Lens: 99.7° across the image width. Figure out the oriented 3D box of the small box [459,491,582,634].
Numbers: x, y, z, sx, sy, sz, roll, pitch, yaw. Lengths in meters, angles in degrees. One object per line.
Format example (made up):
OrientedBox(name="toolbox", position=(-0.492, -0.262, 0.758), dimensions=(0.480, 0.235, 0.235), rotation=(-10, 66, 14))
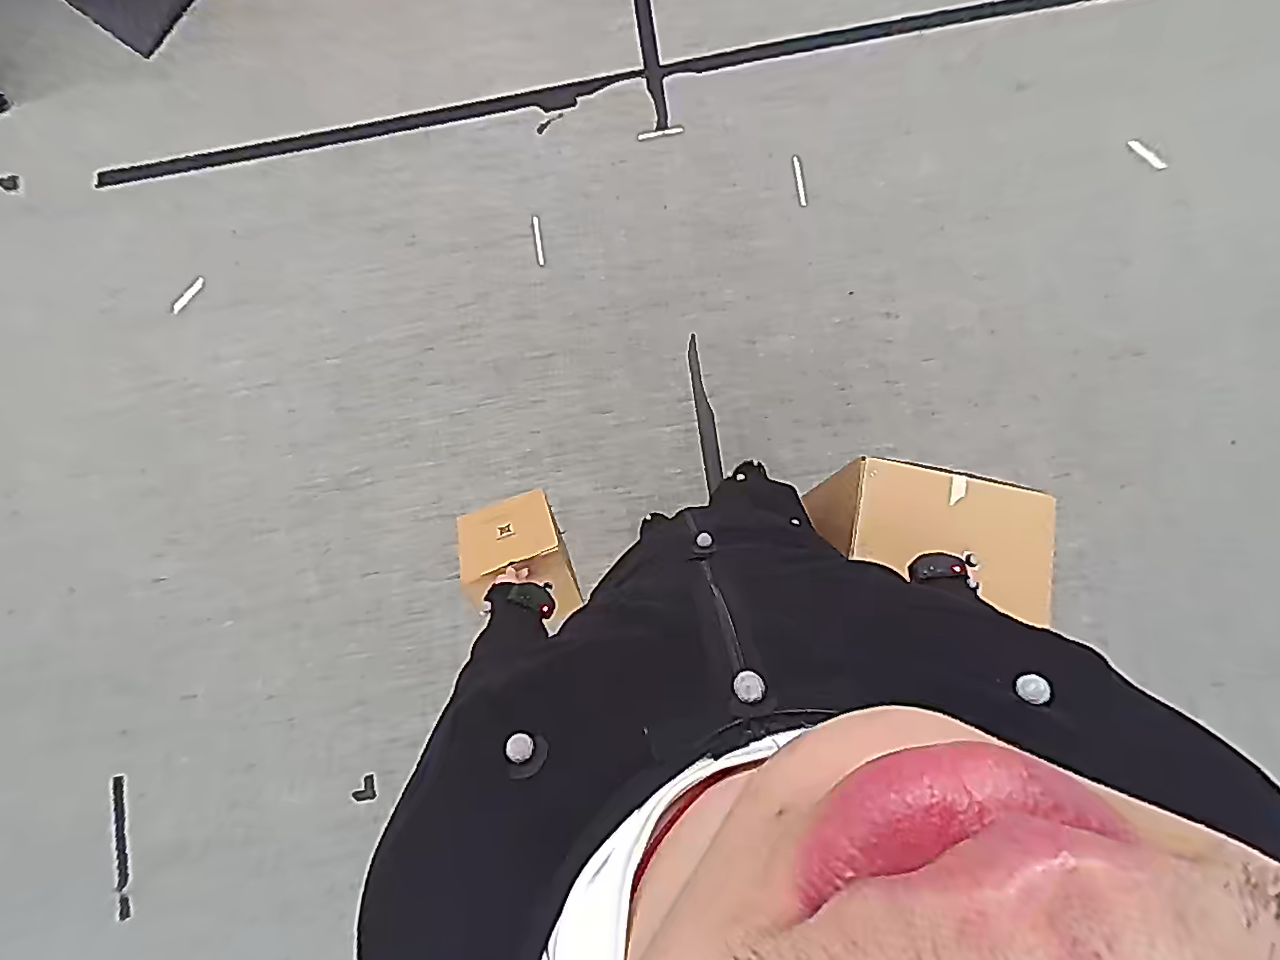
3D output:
OrientedBox(name="small box", position=(-0.215, 0.155, 0.987), dimensions=(0.168, 0.179, 0.176), rotation=(-20, 128, -8))
